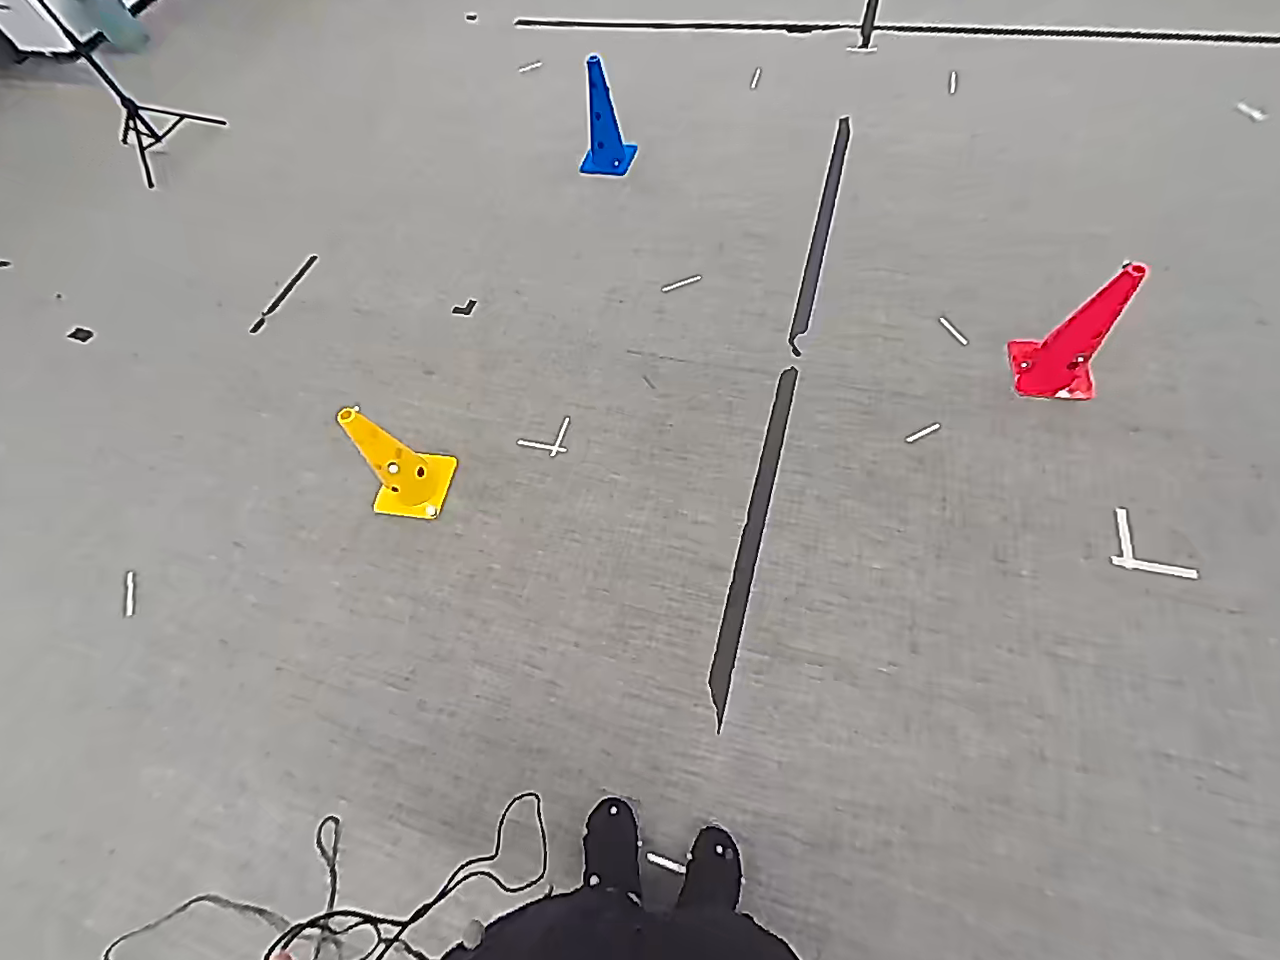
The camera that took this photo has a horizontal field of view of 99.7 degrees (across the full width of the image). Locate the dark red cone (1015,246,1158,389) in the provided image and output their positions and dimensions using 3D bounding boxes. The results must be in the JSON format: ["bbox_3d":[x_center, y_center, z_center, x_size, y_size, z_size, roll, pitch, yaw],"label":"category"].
[{"bbox_3d":[1.141,-0.415,1.357,0.201,0.394,0.202,5,63,10],"label":"dark red cone"}]

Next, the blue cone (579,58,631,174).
[{"bbox_3d":[-0.159,-1.378,2.050,0.192,0.380,0.193,12,64,14],"label":"blue cone"}]
